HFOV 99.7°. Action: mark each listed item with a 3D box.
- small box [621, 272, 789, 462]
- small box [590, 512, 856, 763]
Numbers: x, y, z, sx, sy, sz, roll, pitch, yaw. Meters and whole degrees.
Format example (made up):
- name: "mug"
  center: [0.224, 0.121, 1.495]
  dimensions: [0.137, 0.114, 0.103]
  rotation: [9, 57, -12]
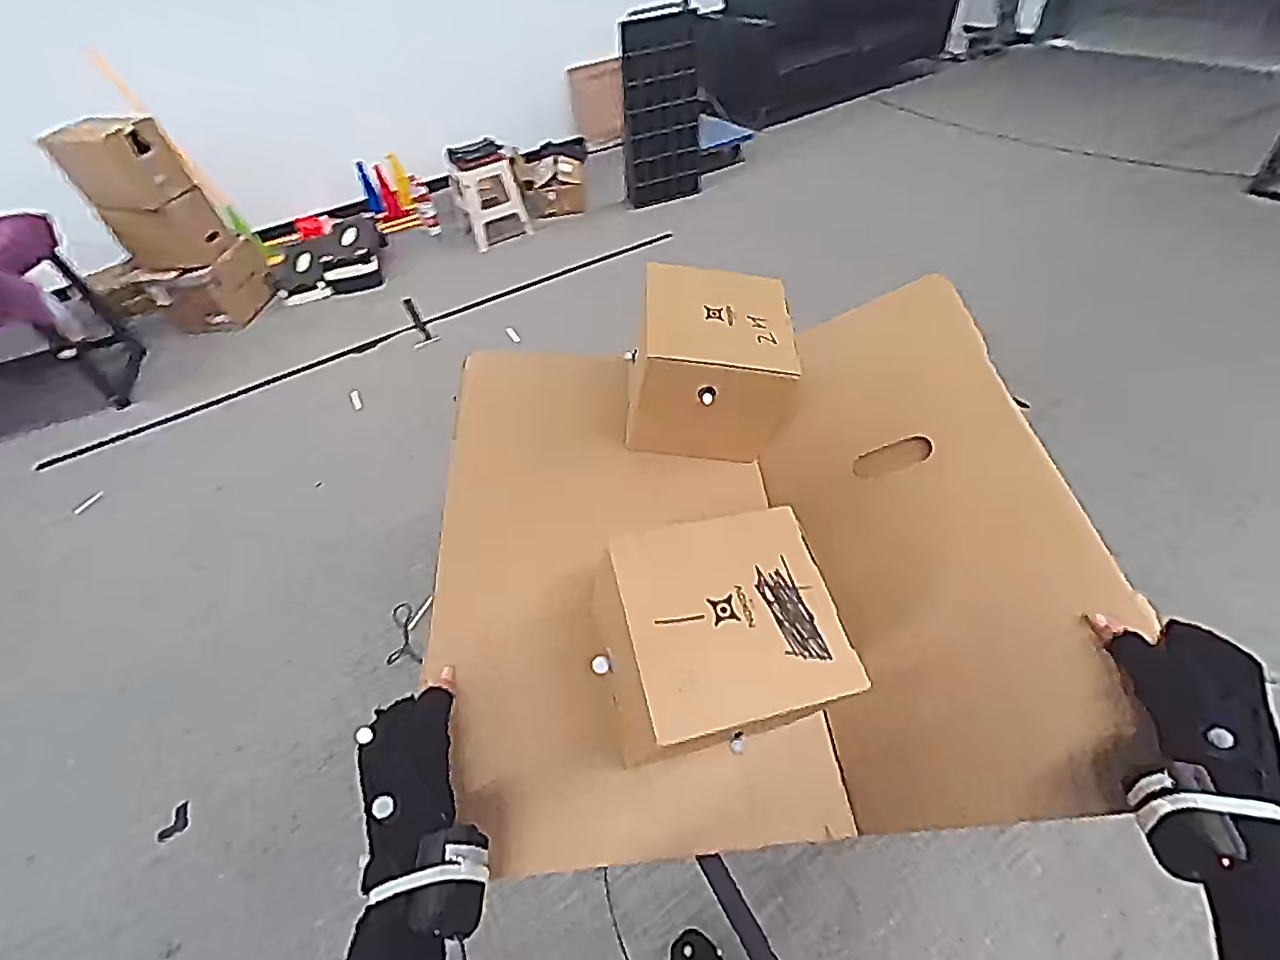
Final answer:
- name: "small box"
  center: [0.071, -0.139, 0.701]
  dimensions: [0.179, 0.176, 0.168]
  rotation: [6, 56, -7]
- name: "small box"
  center: [0.058, 0.151, 0.508]
  dimensions: [0.179, 0.176, 0.168]
  rotation: [-9, 59, -15]
